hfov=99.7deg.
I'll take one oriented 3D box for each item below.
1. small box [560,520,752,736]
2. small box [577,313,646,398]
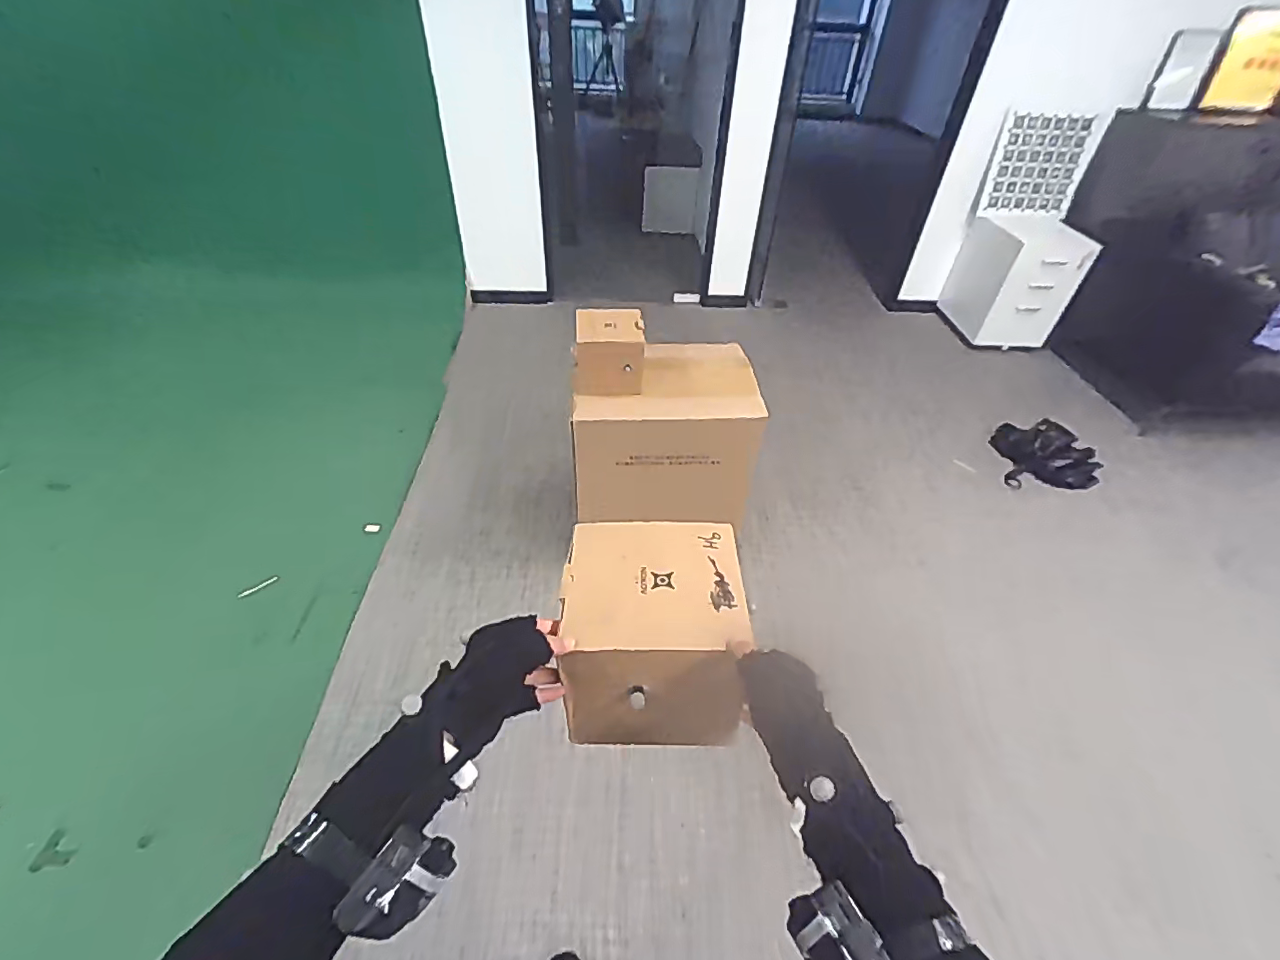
[{"bbox_3d":[0.017,0.160,0.590,0.179,0.176,0.168,0,37,1],"label":"small box"},{"bbox_3d":[-0.082,-0.340,1.480,0.179,0.176,0.168,-3,46,-5],"label":"small box"}]
